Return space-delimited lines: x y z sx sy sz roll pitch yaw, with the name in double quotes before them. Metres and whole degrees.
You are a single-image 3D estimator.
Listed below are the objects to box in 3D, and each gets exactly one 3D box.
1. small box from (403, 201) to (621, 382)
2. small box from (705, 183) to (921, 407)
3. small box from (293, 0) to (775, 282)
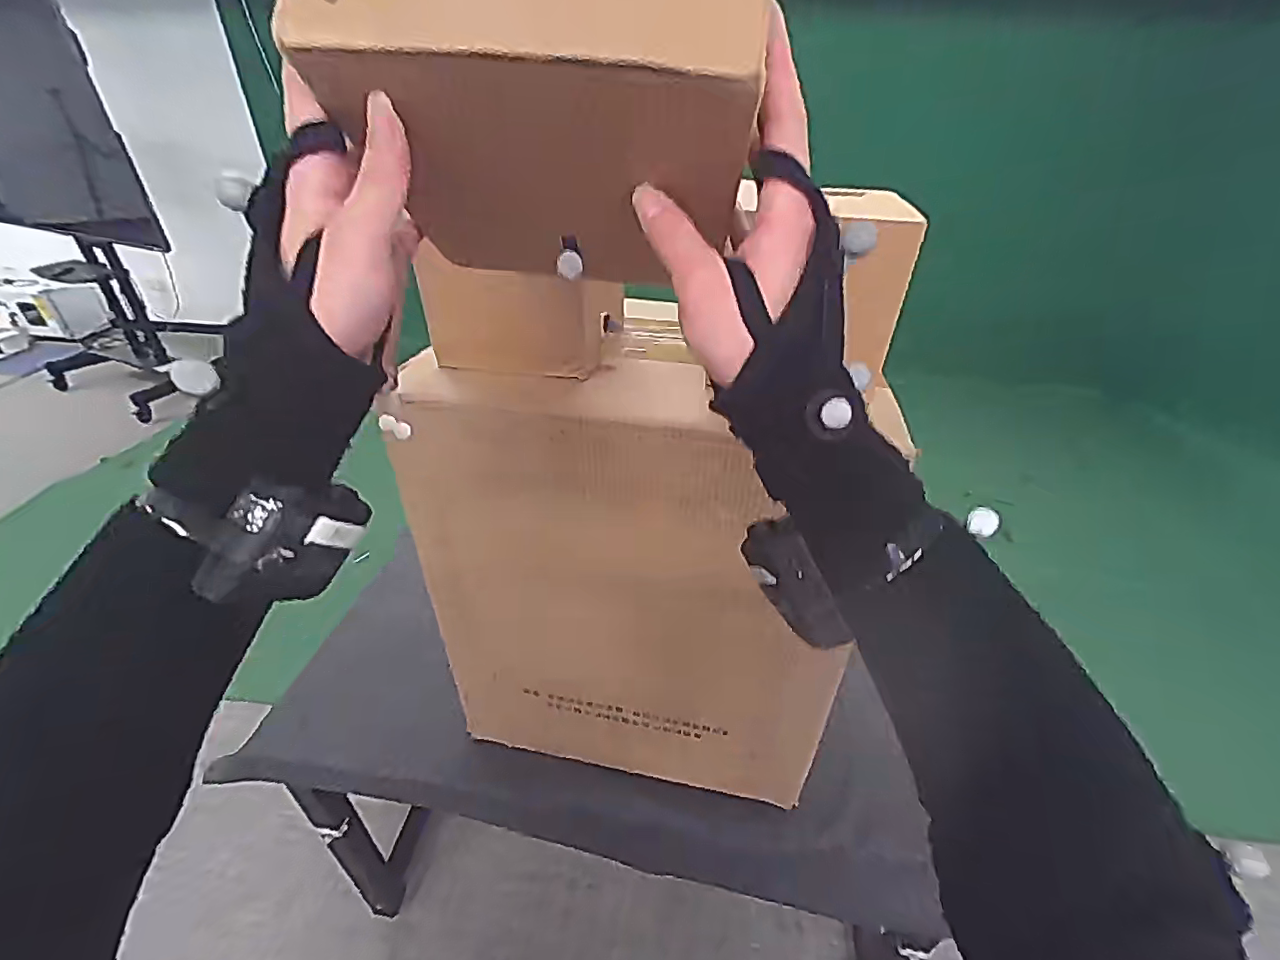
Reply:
"small box" -0.123 -0.221 0.596 0.179 0.176 0.168 9 38 8
"small box" 0.163 -0.198 0.564 0.168 0.176 0.179 9 38 8
"small box" -0.032 -0.219 0.280 0.179 0.168 0.176 7 -1 1
